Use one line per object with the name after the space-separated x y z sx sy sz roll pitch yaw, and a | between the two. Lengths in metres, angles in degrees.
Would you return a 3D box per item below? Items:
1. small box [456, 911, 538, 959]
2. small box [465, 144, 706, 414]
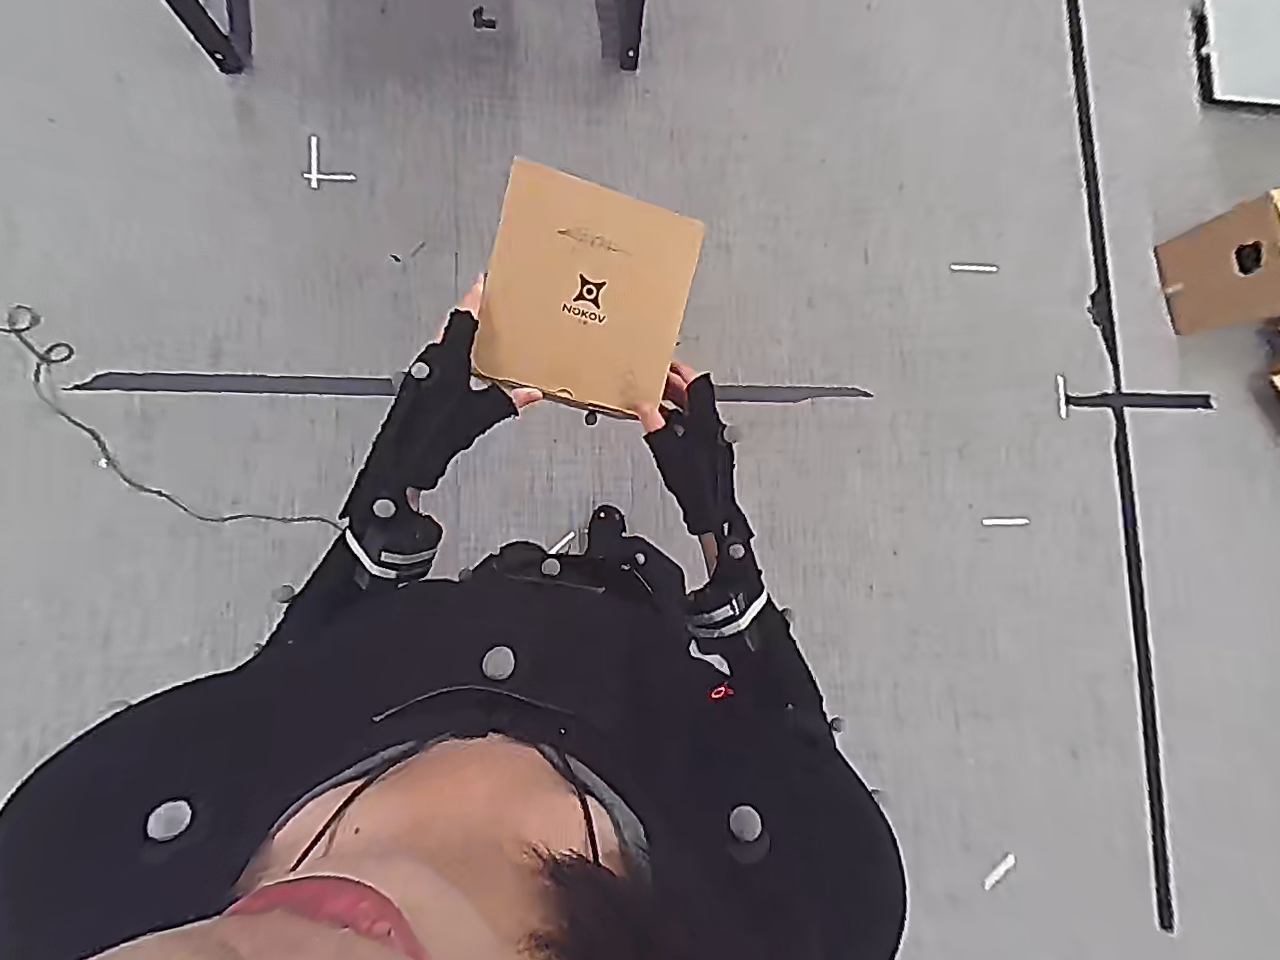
-0.350 1.213 1.325 0.179 0.176 0.168 -9 86 -8 | small box
-0.058 -0.168 0.517 0.168 0.176 0.179 13 95 -15 | small box
